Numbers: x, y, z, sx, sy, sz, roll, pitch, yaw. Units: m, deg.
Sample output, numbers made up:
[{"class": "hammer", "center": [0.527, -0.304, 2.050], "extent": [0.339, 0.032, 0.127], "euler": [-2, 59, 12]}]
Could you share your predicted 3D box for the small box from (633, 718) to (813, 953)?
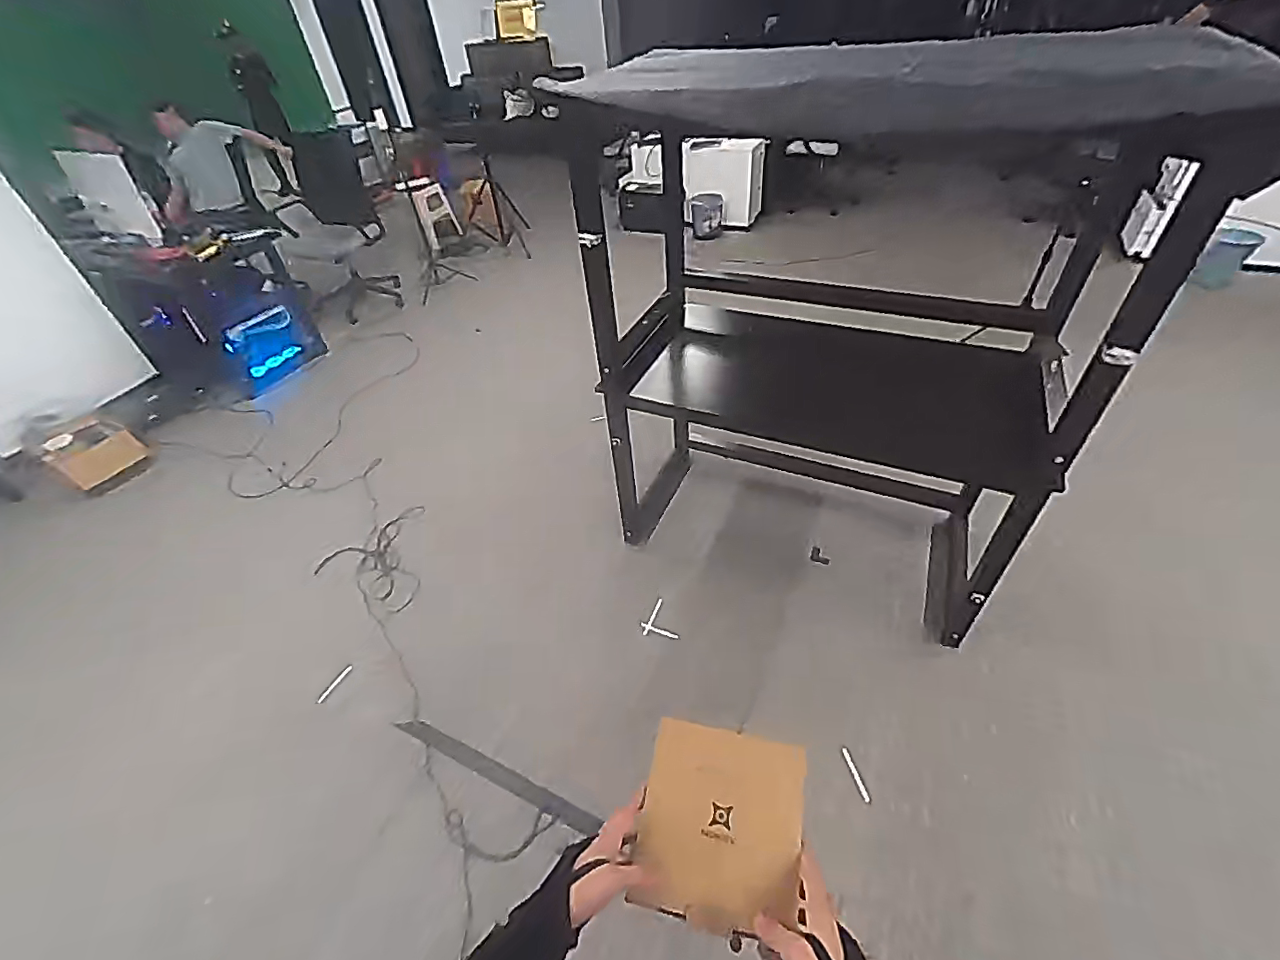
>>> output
[{"class": "small box", "center": [0.094, 0.400, 0.621], "extent": [0.168, 0.176, 0.179], "euler": [10, 55, 8]}]
